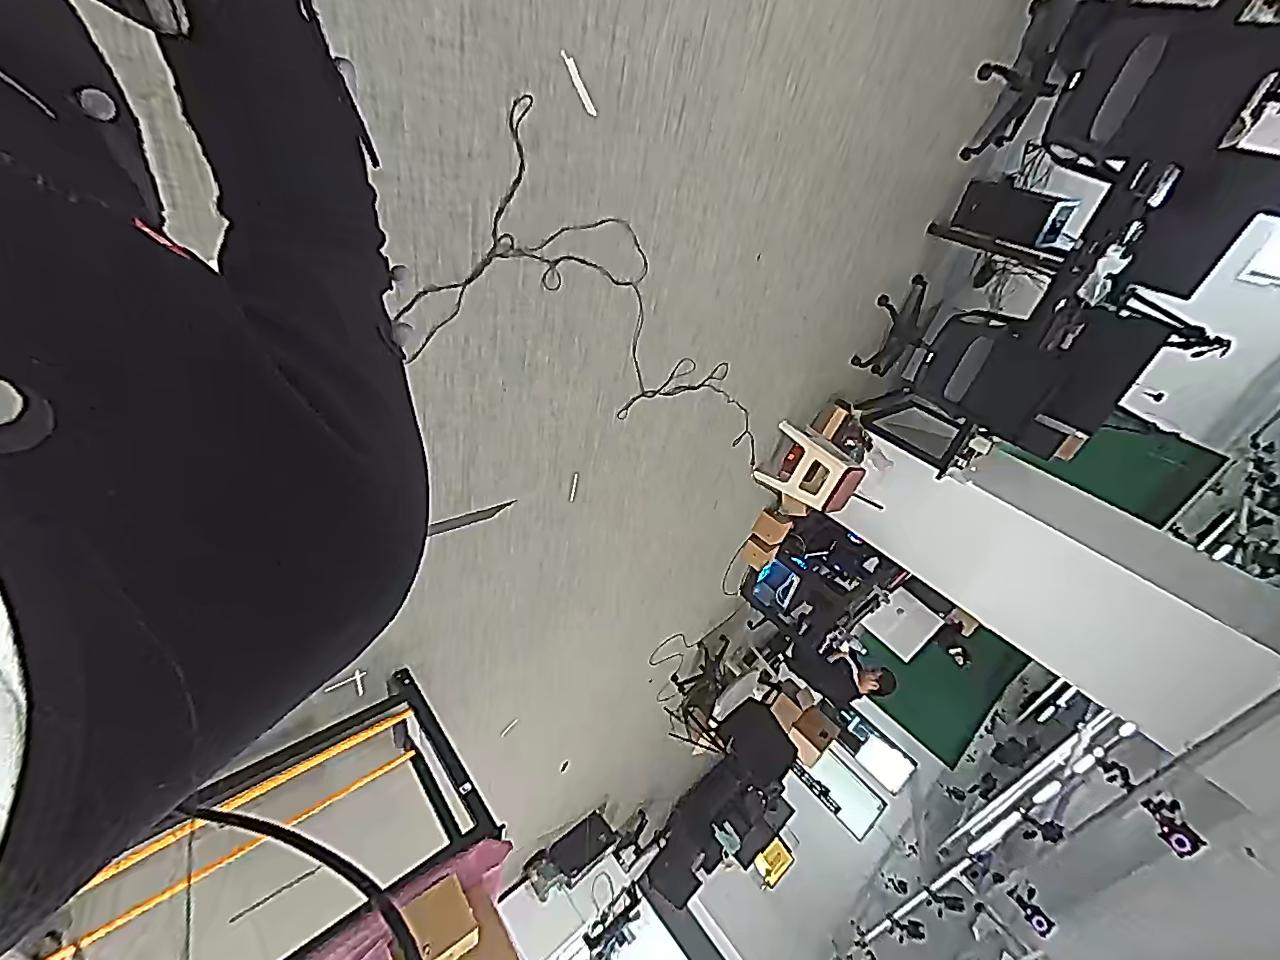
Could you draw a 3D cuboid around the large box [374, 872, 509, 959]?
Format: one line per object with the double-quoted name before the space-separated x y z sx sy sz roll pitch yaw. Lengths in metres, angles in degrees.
"large box" -0.636 1.581 1.742 0.320 0.320 0.408 -18 133 -38
